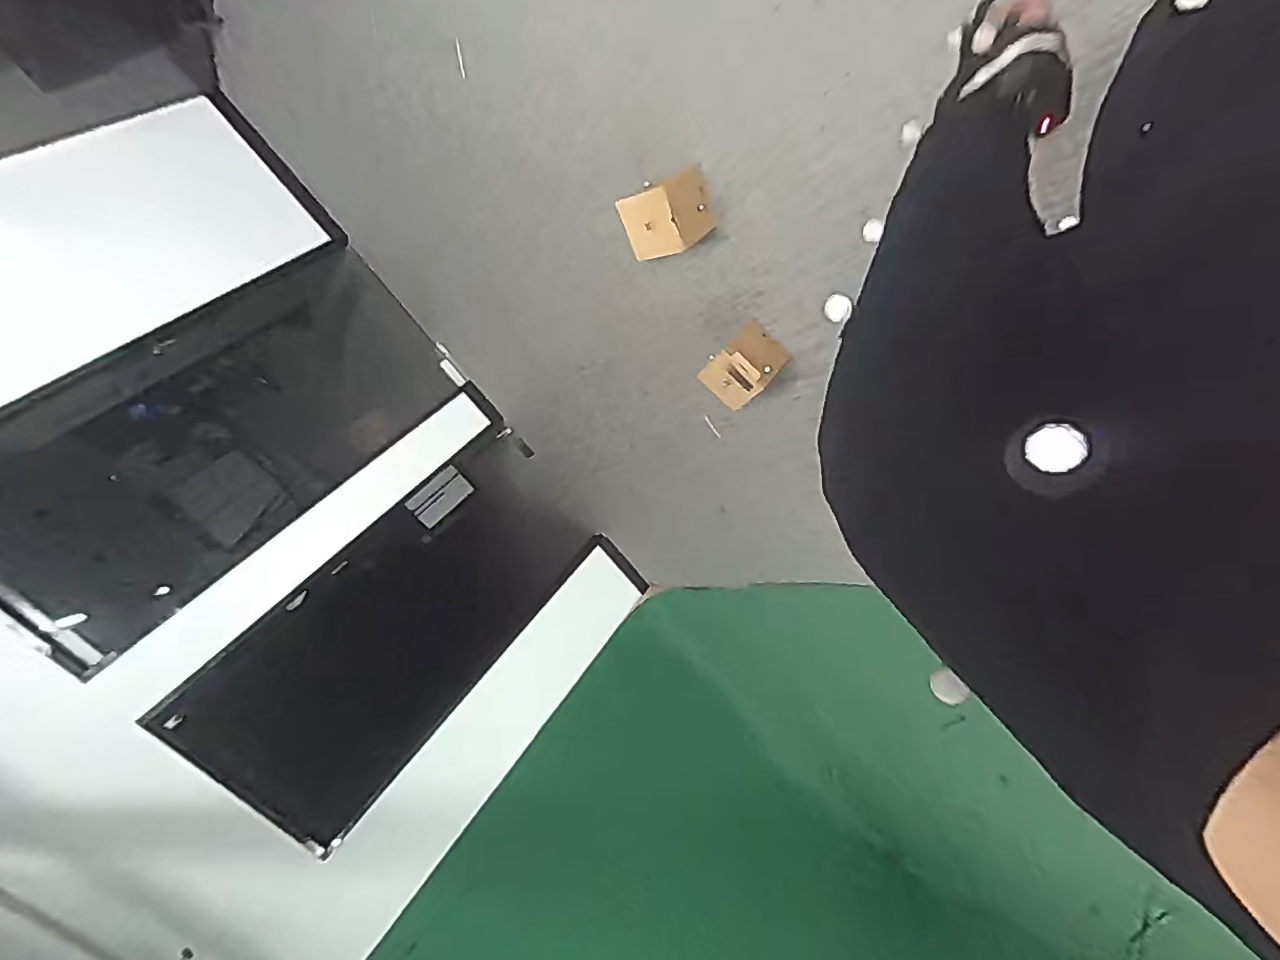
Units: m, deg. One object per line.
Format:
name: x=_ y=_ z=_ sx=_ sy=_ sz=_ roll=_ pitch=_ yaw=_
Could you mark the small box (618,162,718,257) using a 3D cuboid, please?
small box: x=0.079 y=-0.727 z=1.457 sx=0.179 sy=0.176 sz=0.168 roll=10 pitch=137 yaw=43
